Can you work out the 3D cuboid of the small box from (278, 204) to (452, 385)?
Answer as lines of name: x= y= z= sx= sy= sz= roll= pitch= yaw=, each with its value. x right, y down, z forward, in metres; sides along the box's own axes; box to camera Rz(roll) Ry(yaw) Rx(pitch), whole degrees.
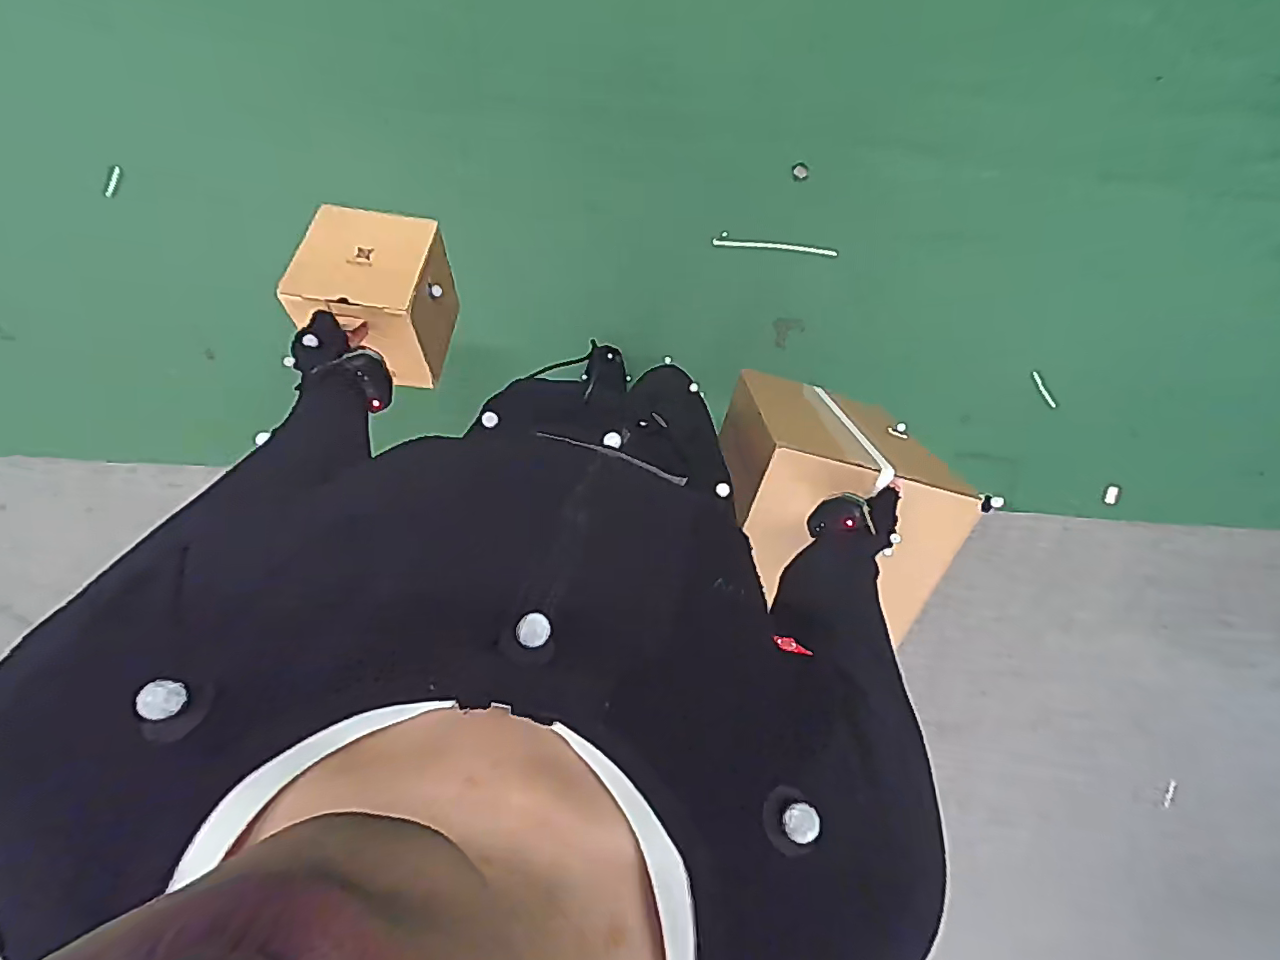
small box: x=-0.389 y=-0.269 z=0.807 sx=0.168 sy=0.176 sz=0.179 roll=7 pitch=65 yaw=-5
